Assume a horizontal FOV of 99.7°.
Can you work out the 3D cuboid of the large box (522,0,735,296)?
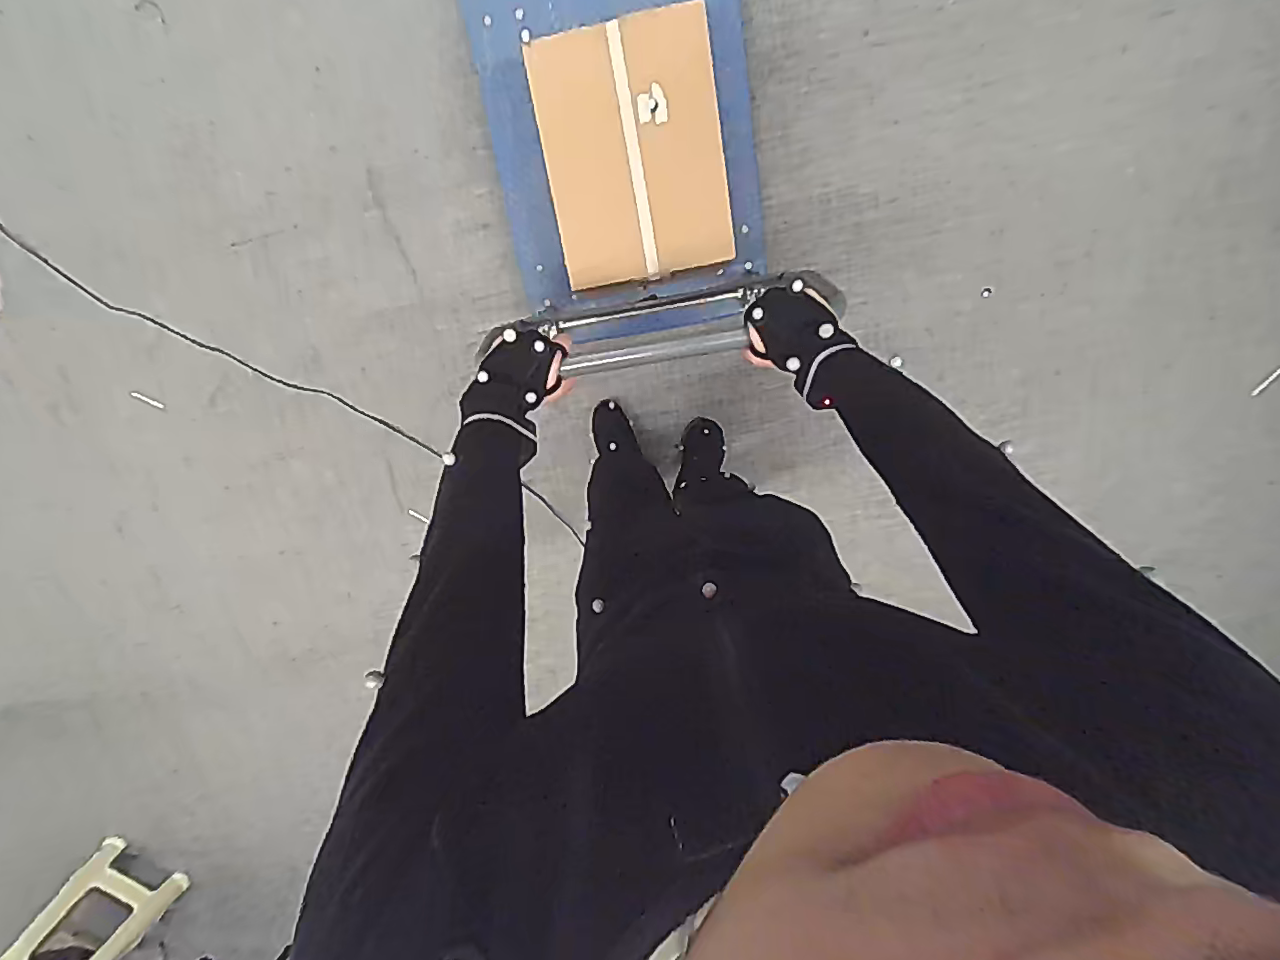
[{"bbox_3d":[-0.006,-0.615,1.093,0.320,0.320,0.408,-10,105,4],"label":"large box"}]
